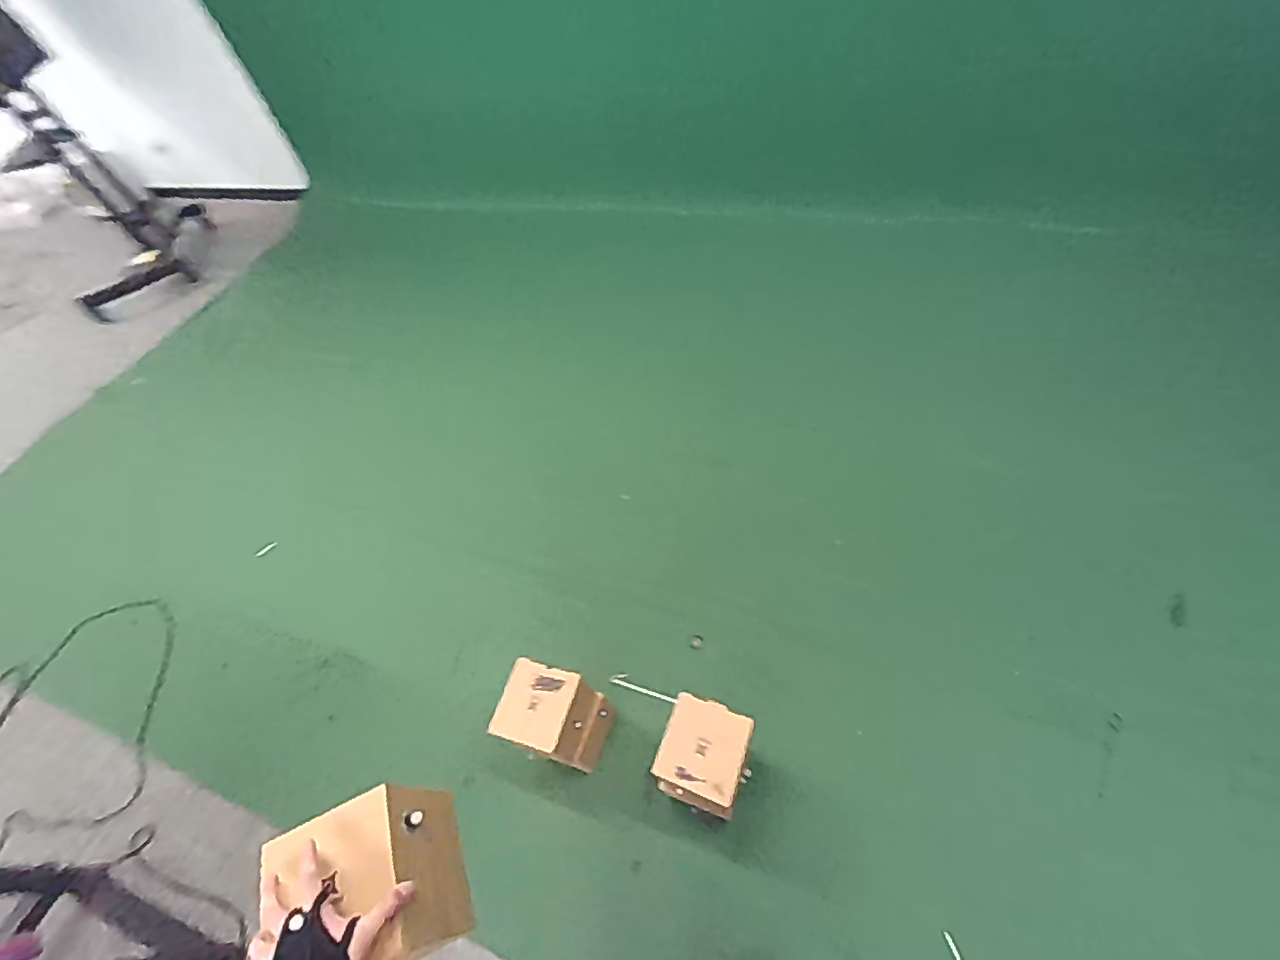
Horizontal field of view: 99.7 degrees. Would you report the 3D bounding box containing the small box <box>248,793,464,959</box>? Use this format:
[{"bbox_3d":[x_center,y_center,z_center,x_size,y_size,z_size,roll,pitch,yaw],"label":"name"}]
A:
[{"bbox_3d":[-0.344,0.522,0.672,0.168,0.176,0.179,-27,56,-3],"label":"small box"}]

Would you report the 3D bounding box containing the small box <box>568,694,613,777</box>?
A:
[{"bbox_3d":[-0.184,0.651,1.415,0.168,0.176,0.179,12,57,20],"label":"small box"}]

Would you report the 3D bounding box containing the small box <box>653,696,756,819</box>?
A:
[{"bbox_3d":[0.144,0.603,1.172,0.168,0.176,0.179,15,59,21],"label":"small box"}]

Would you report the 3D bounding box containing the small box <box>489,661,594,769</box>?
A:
[{"bbox_3d":[-0.222,0.559,1.283,0.168,0.176,0.179,10,58,19],"label":"small box"}]
